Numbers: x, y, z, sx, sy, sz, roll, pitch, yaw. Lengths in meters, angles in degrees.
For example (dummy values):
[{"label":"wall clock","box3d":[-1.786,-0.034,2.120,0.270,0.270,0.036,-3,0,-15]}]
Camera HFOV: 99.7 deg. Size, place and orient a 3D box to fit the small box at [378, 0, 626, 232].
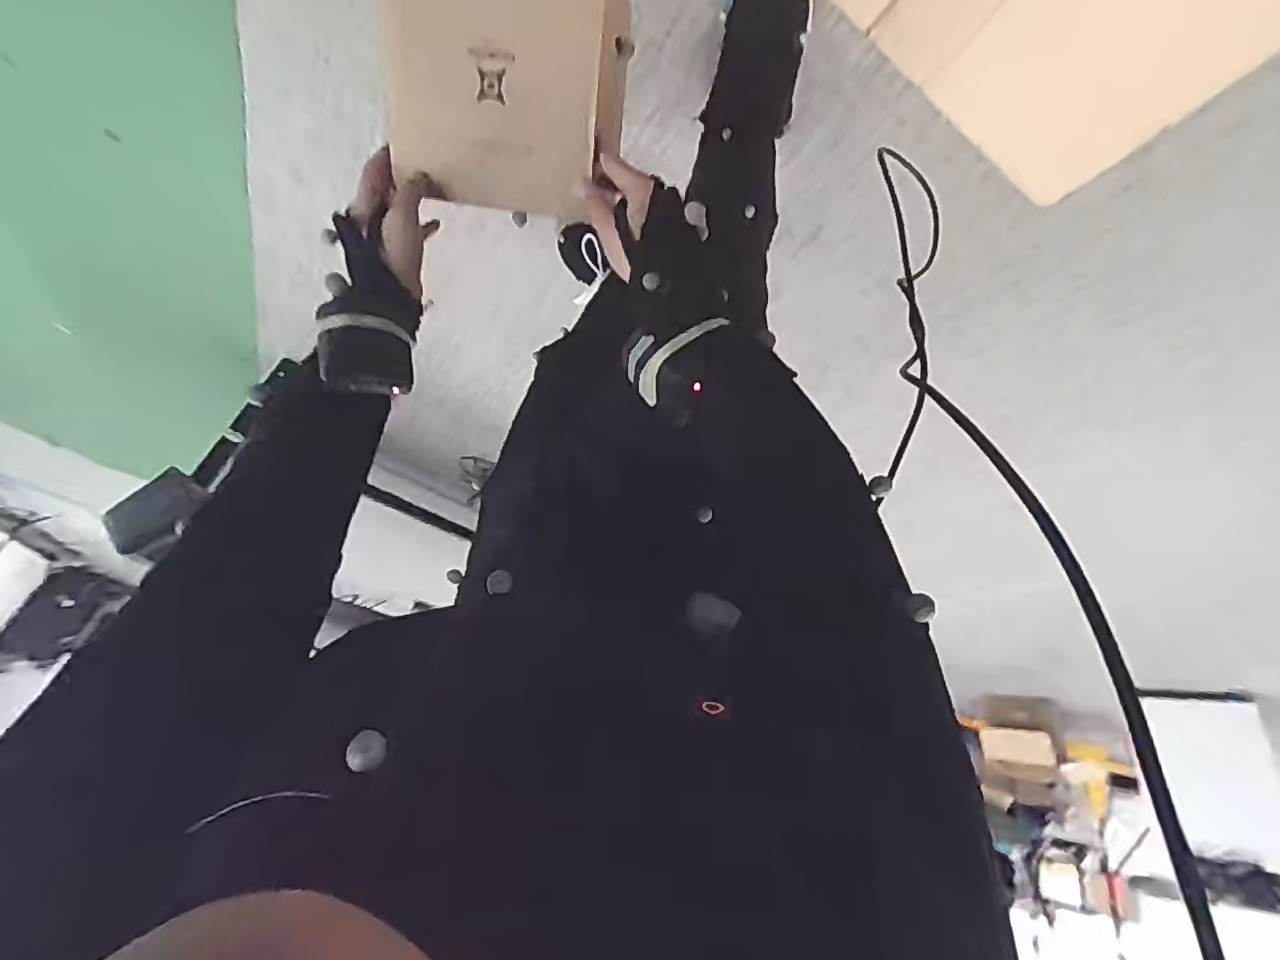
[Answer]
[{"label":"small box","box3d":[-0.106,-0.325,0.479,0.168,0.176,0.179,7,117,2]}]
